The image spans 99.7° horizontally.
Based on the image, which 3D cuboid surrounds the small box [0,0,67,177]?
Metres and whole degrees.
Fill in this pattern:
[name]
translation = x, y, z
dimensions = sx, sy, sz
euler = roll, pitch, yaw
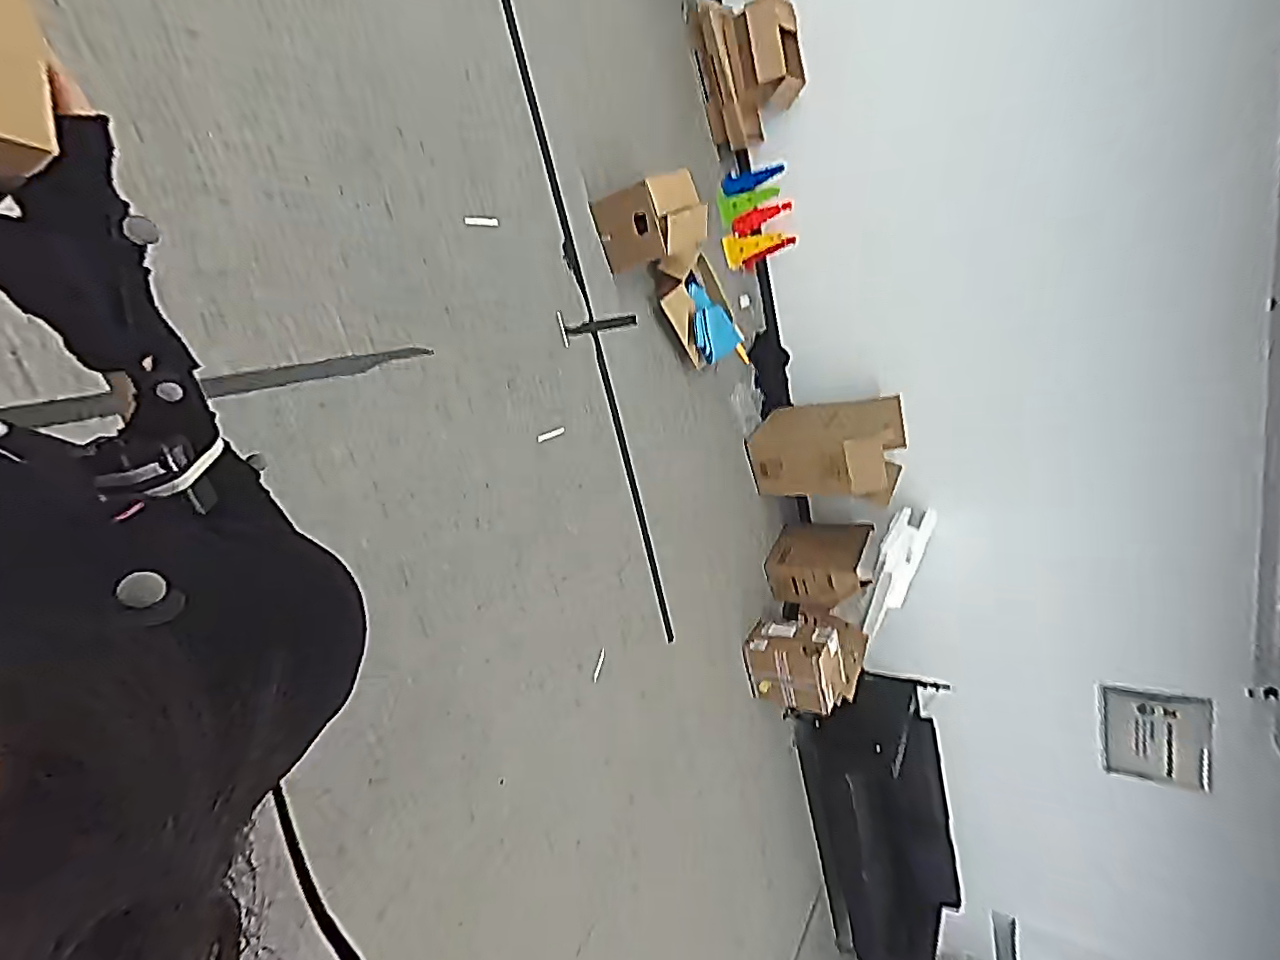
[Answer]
[small box]
translation = -0.376, -0.242, 0.211
dimensions = 0.168, 0.176, 0.179
euler = -13, 104, -59
